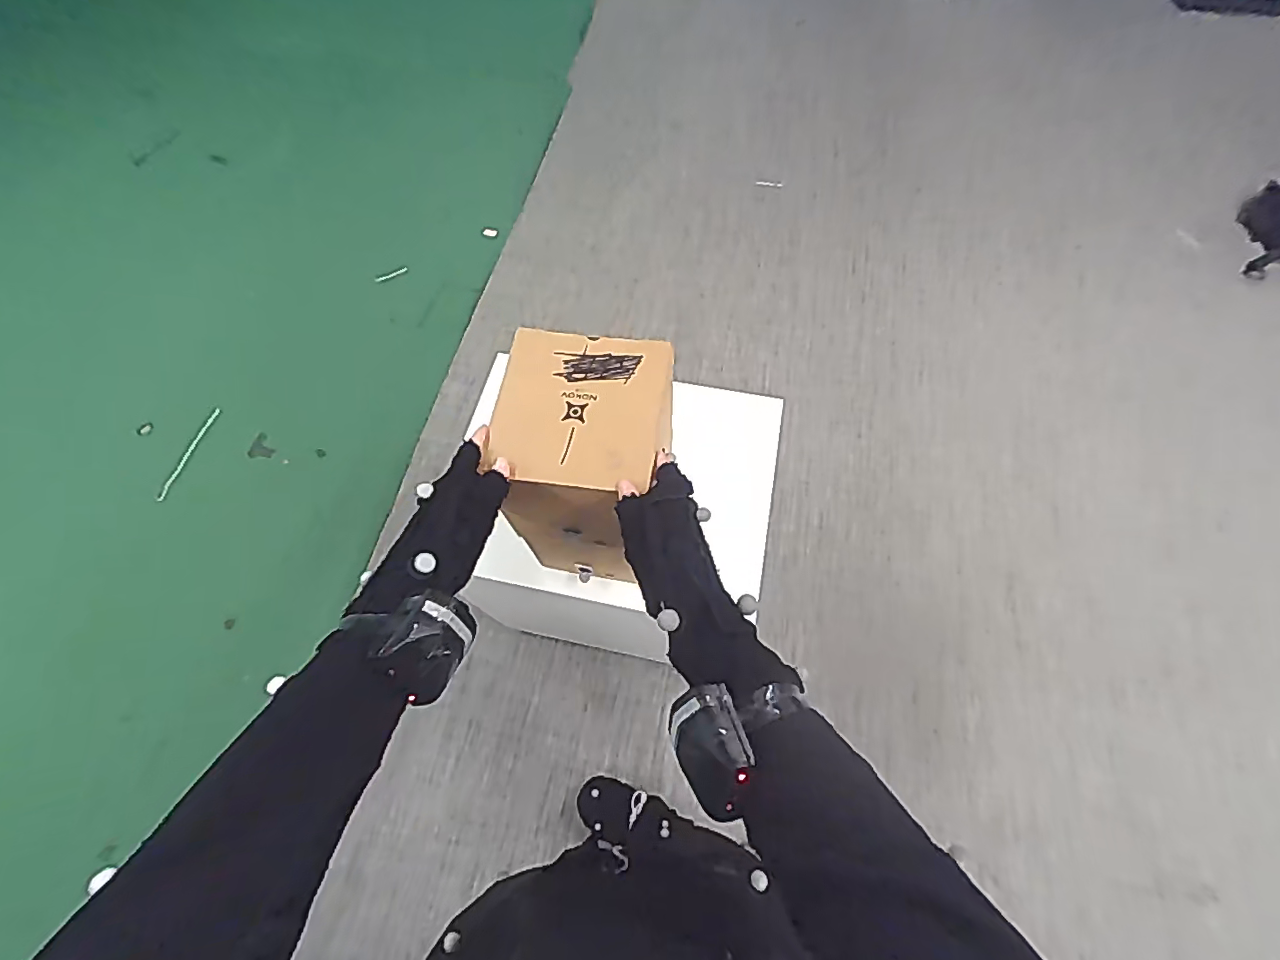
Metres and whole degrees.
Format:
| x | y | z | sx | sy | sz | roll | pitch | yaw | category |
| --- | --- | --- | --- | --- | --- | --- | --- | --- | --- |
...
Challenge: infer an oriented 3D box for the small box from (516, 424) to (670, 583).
| x | y | z | sx | sy | sz | roll | pitch | yaw | category |
| --- | --- | --- | --- | --- | --- | --- | --- | --- | --- |
| -0.052 | 0.028 | 0.748 | 0.168 | 0.176 | 0.179 | 7 | 67 | 7 | small box |

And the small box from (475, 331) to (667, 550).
| x | y | z | sx | sy | sz | roll | pitch | yaw | category |
| --- | --- | --- | --- | --- | --- | --- | --- | --- | --- |
| -0.059 | -0.039 | 0.597 | 0.168 | 0.176 | 0.179 | 4 | 63 | 6 | small box |
